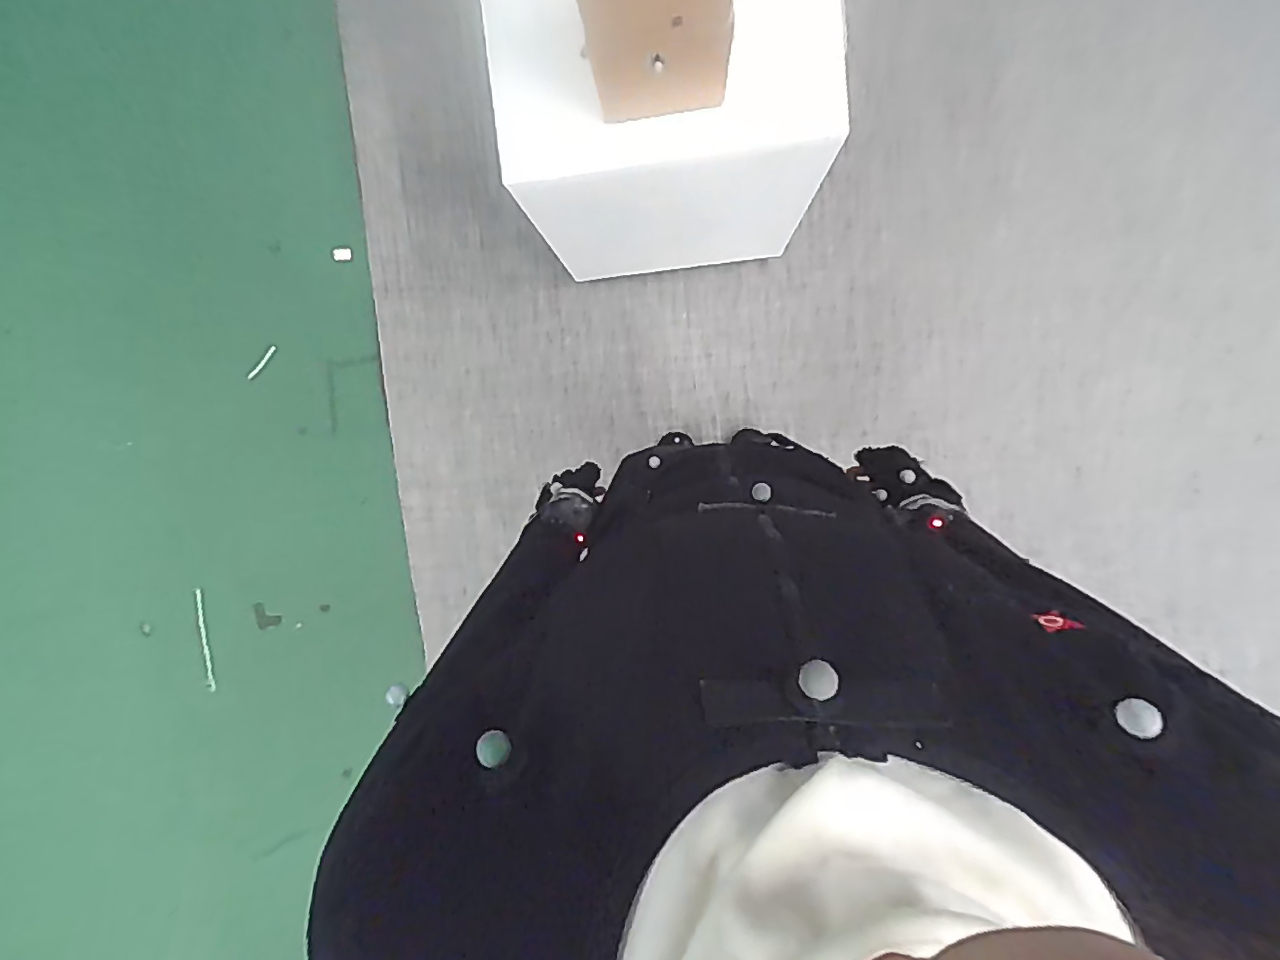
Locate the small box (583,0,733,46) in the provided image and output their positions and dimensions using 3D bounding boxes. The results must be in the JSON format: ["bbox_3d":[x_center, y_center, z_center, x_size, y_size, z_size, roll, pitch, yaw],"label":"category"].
[{"bbox_3d":[0.010,-0.592,0.541,0.168,0.176,0.179,-7,96,4],"label":"small box"}]

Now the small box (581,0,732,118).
[{"bbox_3d":[0.020,-0.605,0.702,0.179,0.176,0.168,-6,96,4],"label":"small box"}]
